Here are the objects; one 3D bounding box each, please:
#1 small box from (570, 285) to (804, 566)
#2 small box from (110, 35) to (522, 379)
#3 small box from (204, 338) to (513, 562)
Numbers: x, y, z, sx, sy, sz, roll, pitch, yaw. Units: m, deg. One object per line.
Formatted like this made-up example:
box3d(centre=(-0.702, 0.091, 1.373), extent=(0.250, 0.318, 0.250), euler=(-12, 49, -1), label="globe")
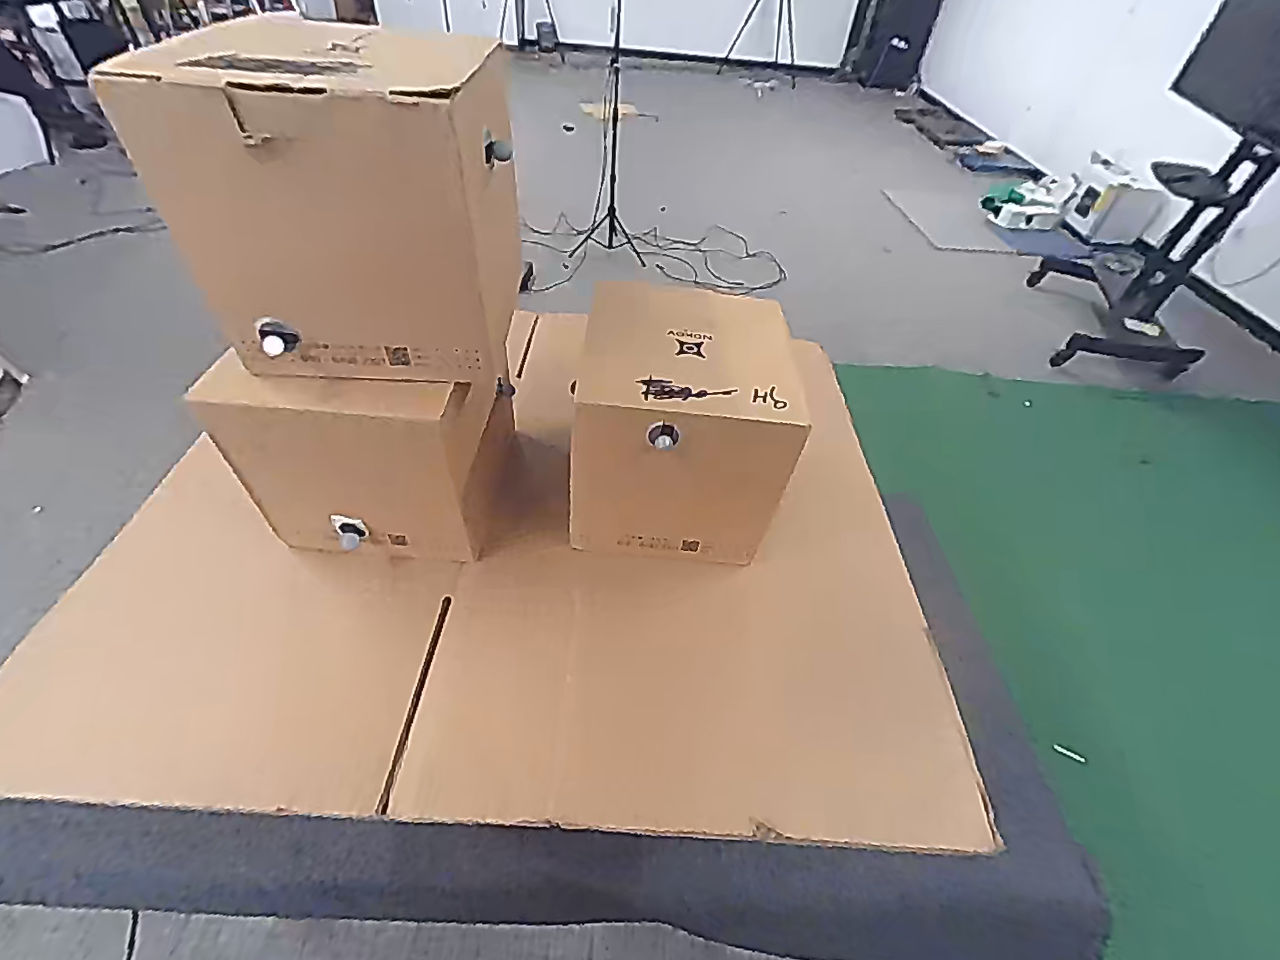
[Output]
box3d(centre=(0.030, -0.049, 0.487), extent=(0.168, 0.176, 0.179), euler=(6, 46, -2), label="small box")
box3d(centre=(-0.180, -0.186, 0.377), extent=(0.168, 0.176, 0.179), euler=(2, 46, -4), label="small box")
box3d(centre=(-0.212, -0.051, 0.474), extent=(0.168, 0.176, 0.179), euler=(4, 48, -1), label="small box")
